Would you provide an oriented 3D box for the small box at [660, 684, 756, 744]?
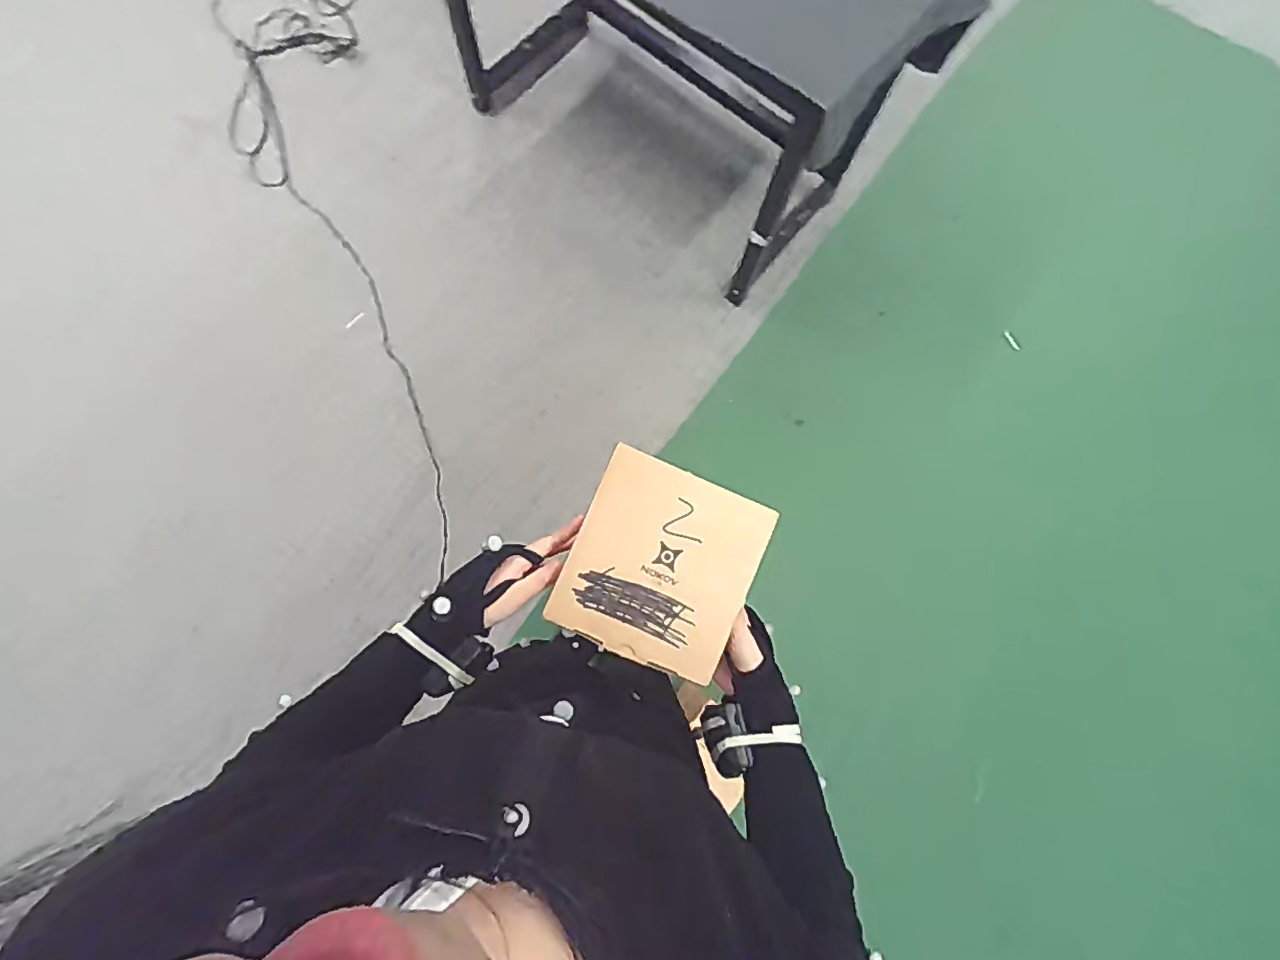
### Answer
[{"bbox_3d":[0.166,0.642,1.377,0.179,0.176,0.168,38,78,6],"label":"small box"}]

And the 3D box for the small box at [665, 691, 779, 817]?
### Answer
[{"bbox_3d":[0.176,0.602,1.217,0.179,0.176,0.168,41,78,7],"label":"small box"}]
